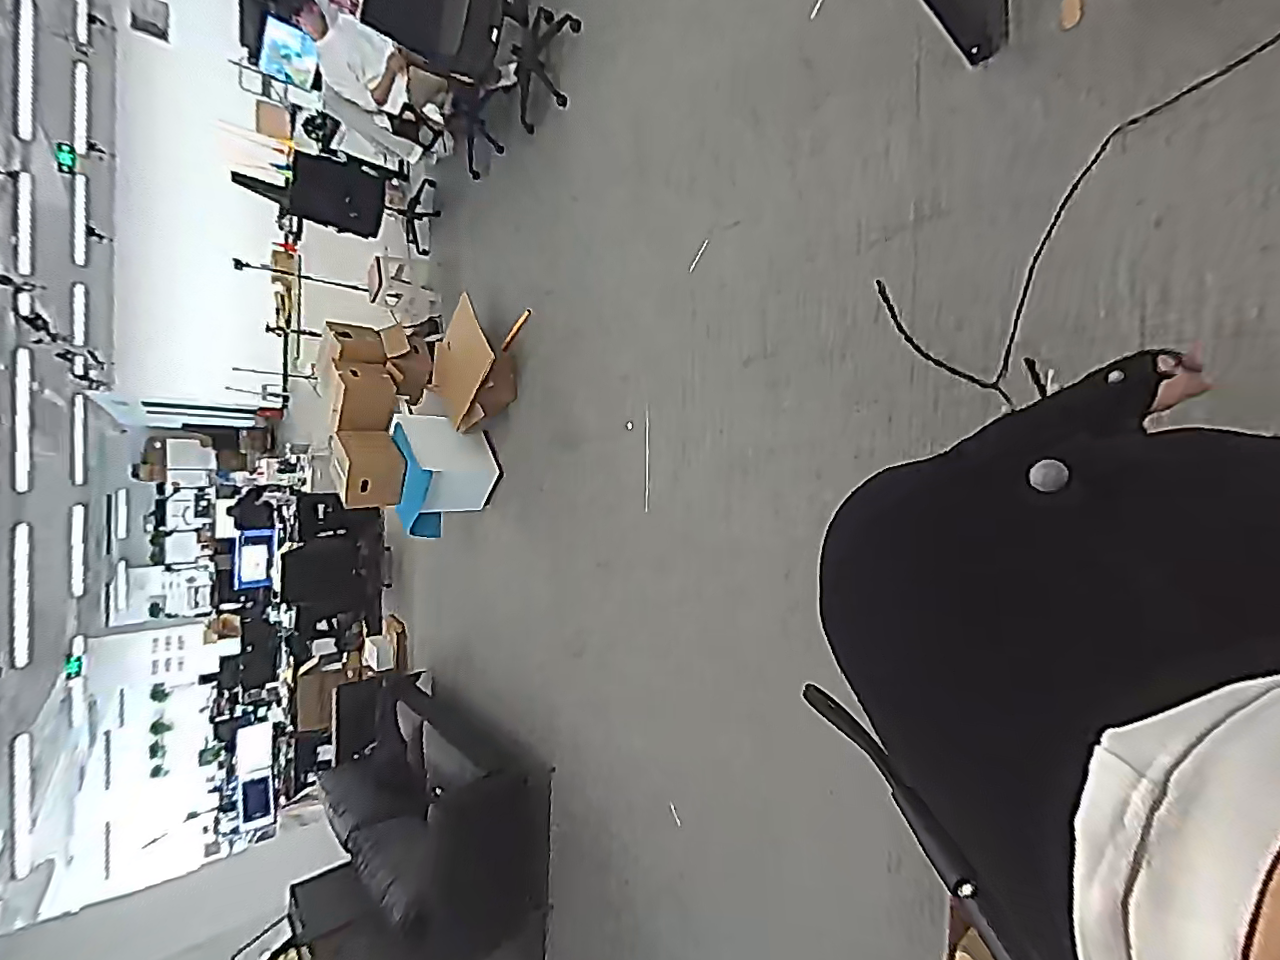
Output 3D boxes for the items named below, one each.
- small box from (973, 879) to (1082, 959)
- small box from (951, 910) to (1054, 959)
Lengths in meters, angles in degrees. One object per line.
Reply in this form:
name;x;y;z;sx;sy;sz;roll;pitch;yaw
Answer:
small box;0.909;1.096;1.279;0.179;0.176;0.168;10;97;49
small box;0.787;1.097;1.171;0.168;0.176;0.179;11;98;50
